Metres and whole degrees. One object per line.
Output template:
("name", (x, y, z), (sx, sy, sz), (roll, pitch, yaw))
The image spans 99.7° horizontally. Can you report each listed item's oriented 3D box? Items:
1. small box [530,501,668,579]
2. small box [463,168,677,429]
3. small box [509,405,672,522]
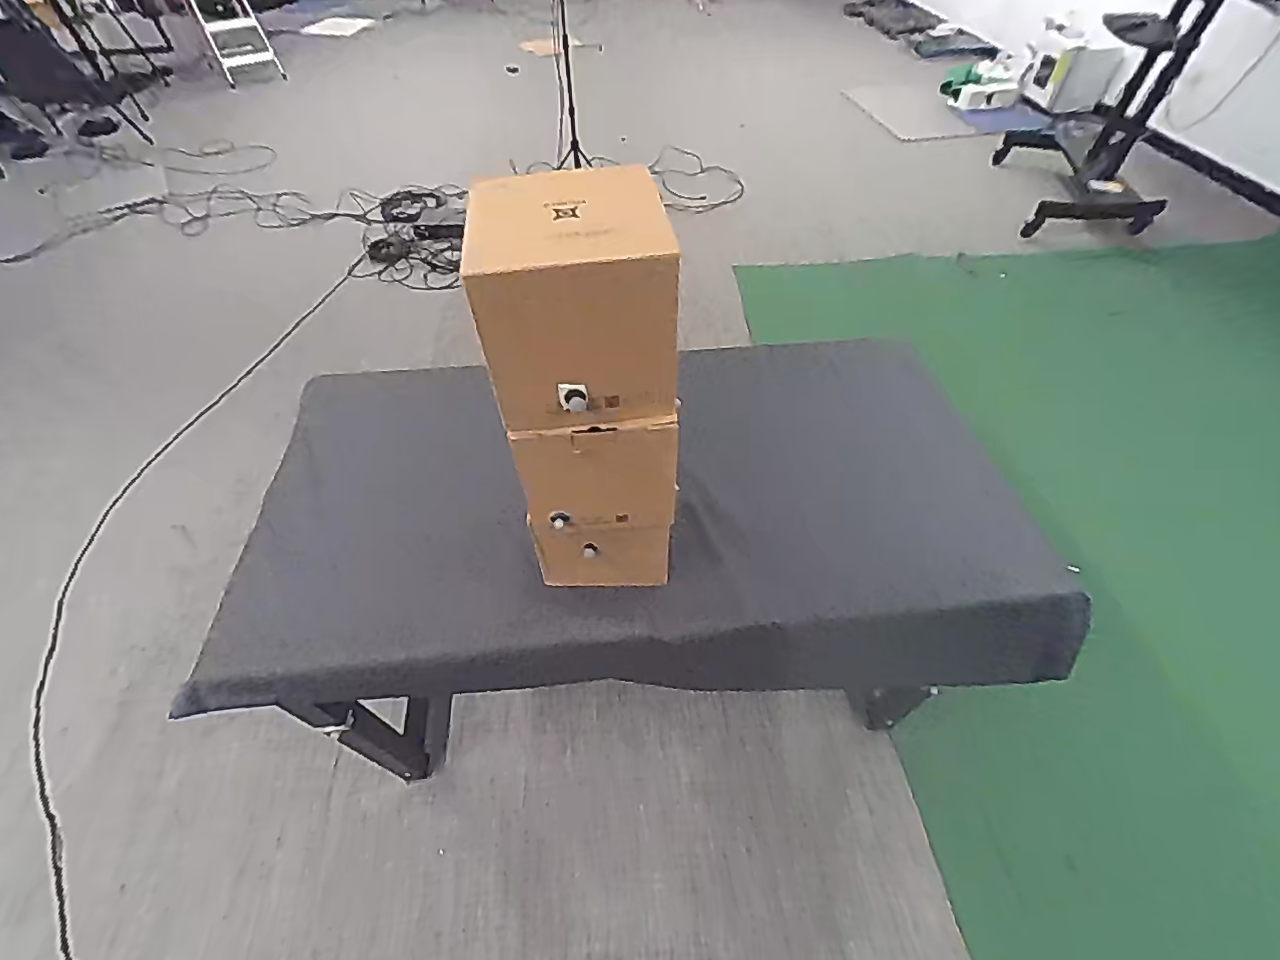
("small box", (-0.052, 0.031, 0.779), (0.179, 0.176, 0.168), (-2, 49, -1))
("small box", (-0.062, -0.174, 0.523), (0.168, 0.176, 0.179), (-8, 51, -4))
("small box", (-0.055, -0.063, 0.642), (0.168, 0.176, 0.179), (-7, 52, -4))
